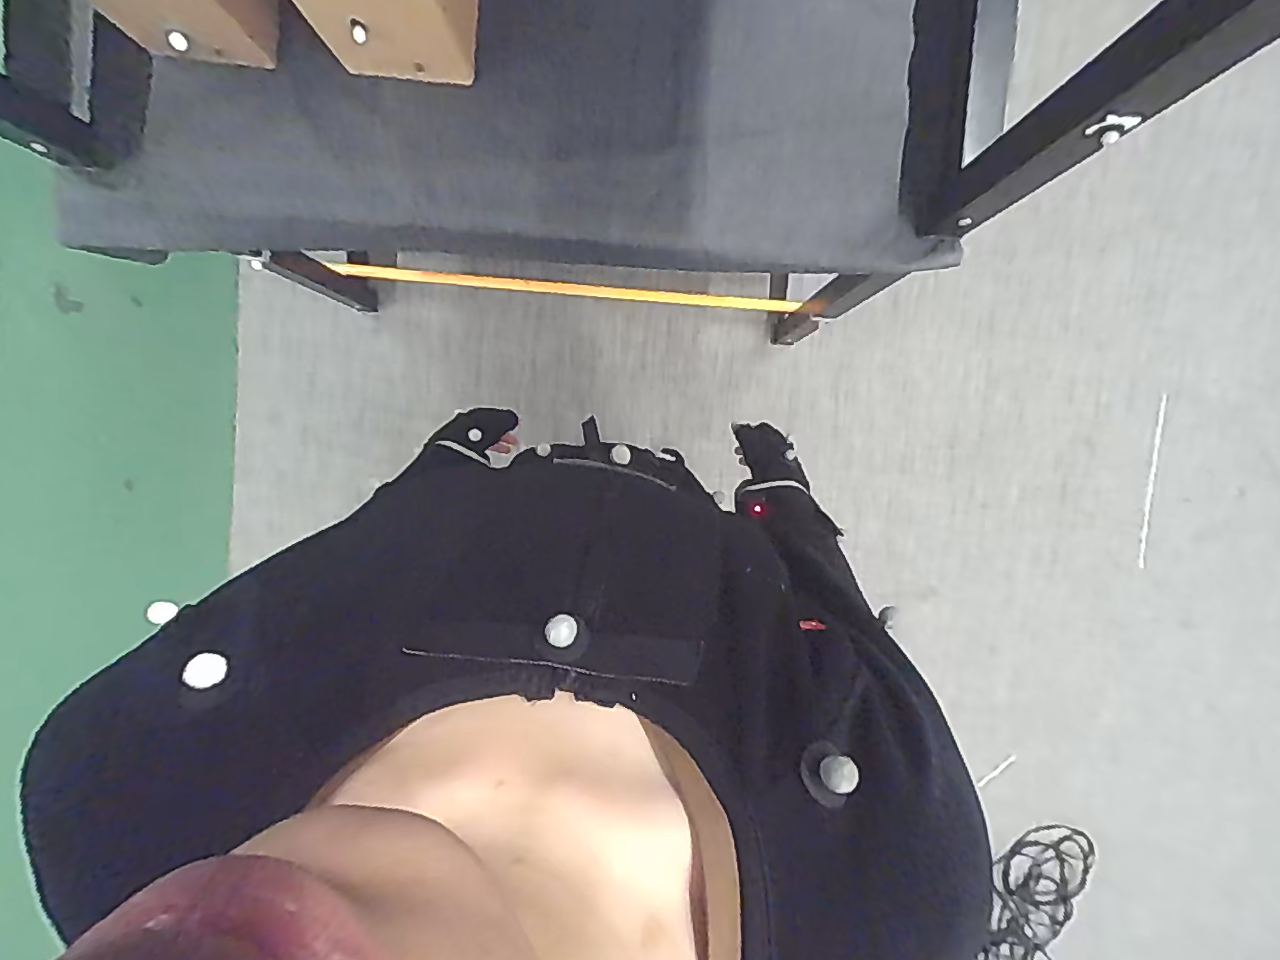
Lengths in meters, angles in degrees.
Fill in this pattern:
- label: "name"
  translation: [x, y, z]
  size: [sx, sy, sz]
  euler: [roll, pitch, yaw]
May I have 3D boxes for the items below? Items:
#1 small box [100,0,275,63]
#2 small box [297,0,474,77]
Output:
- label: "small box"
  translation: [-0.549, -0.633, 0.617]
  size: [0.168, 0.176, 0.179]
  euler: [6, 95, -1]
- label: "small box"
  translation: [-0.297, -0.612, 0.625]
  size: [0.168, 0.176, 0.179]
  euler: [5, 94, -1]
